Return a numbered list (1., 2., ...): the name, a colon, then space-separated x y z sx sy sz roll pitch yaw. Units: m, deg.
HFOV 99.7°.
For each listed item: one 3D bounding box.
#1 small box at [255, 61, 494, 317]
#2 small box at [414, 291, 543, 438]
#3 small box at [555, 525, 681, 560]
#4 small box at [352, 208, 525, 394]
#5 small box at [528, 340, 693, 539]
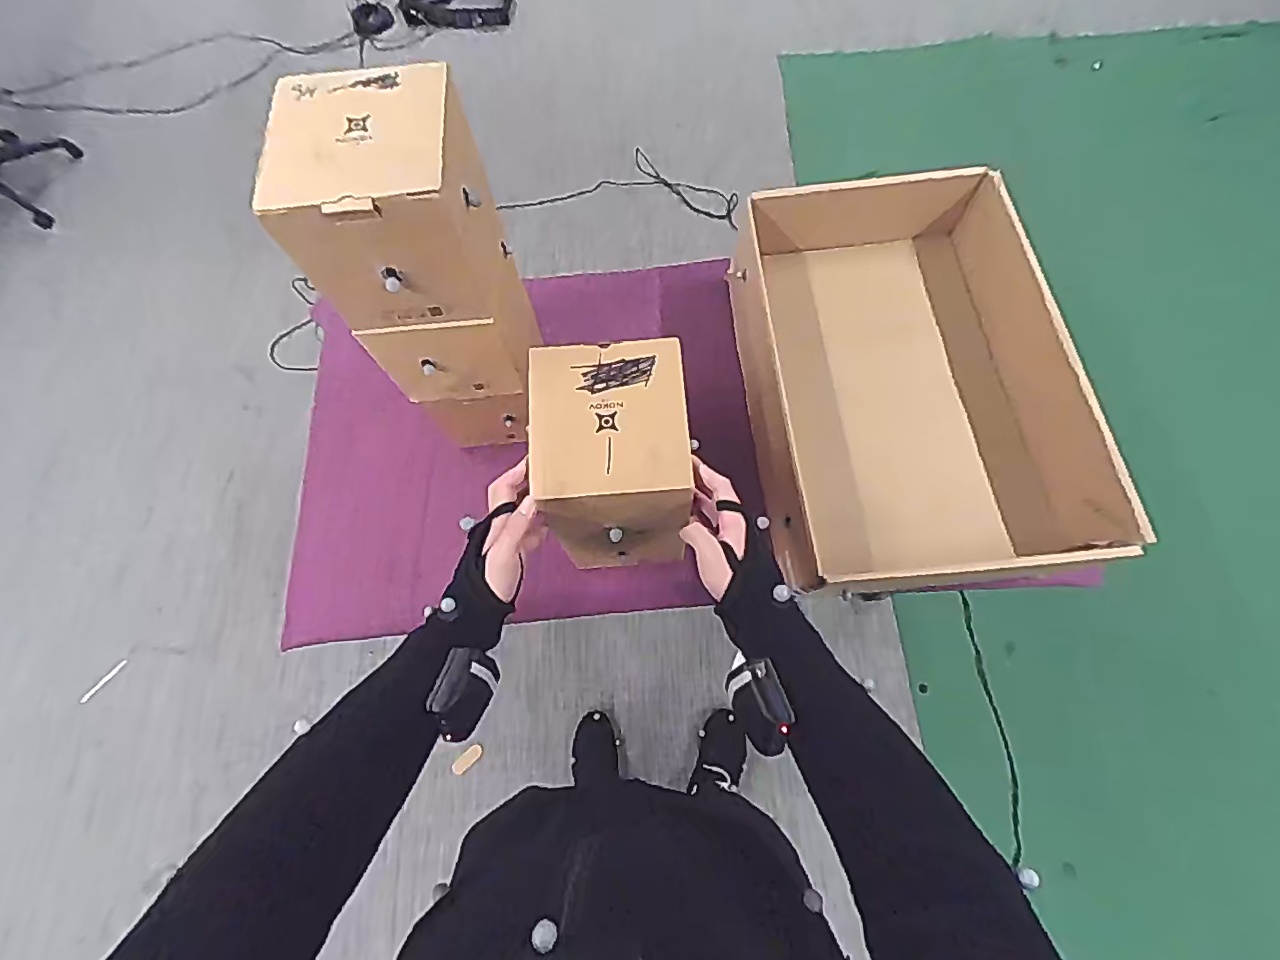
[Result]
1. small box: -0.256 -0.288 0.567 0.168 0.176 0.179 -5 70 -1
2. small box: -0.245 -0.175 0.872 0.168 0.176 0.179 -4 70 0
3. small box: -0.027 0.018 0.789 0.168 0.176 0.179 -4 69 0
4. small box: -0.251 -0.226 0.719 0.168 0.176 0.179 -5 69 0
5. small box: -0.031 -0.040 0.636 0.168 0.176 0.179 -4 70 1
